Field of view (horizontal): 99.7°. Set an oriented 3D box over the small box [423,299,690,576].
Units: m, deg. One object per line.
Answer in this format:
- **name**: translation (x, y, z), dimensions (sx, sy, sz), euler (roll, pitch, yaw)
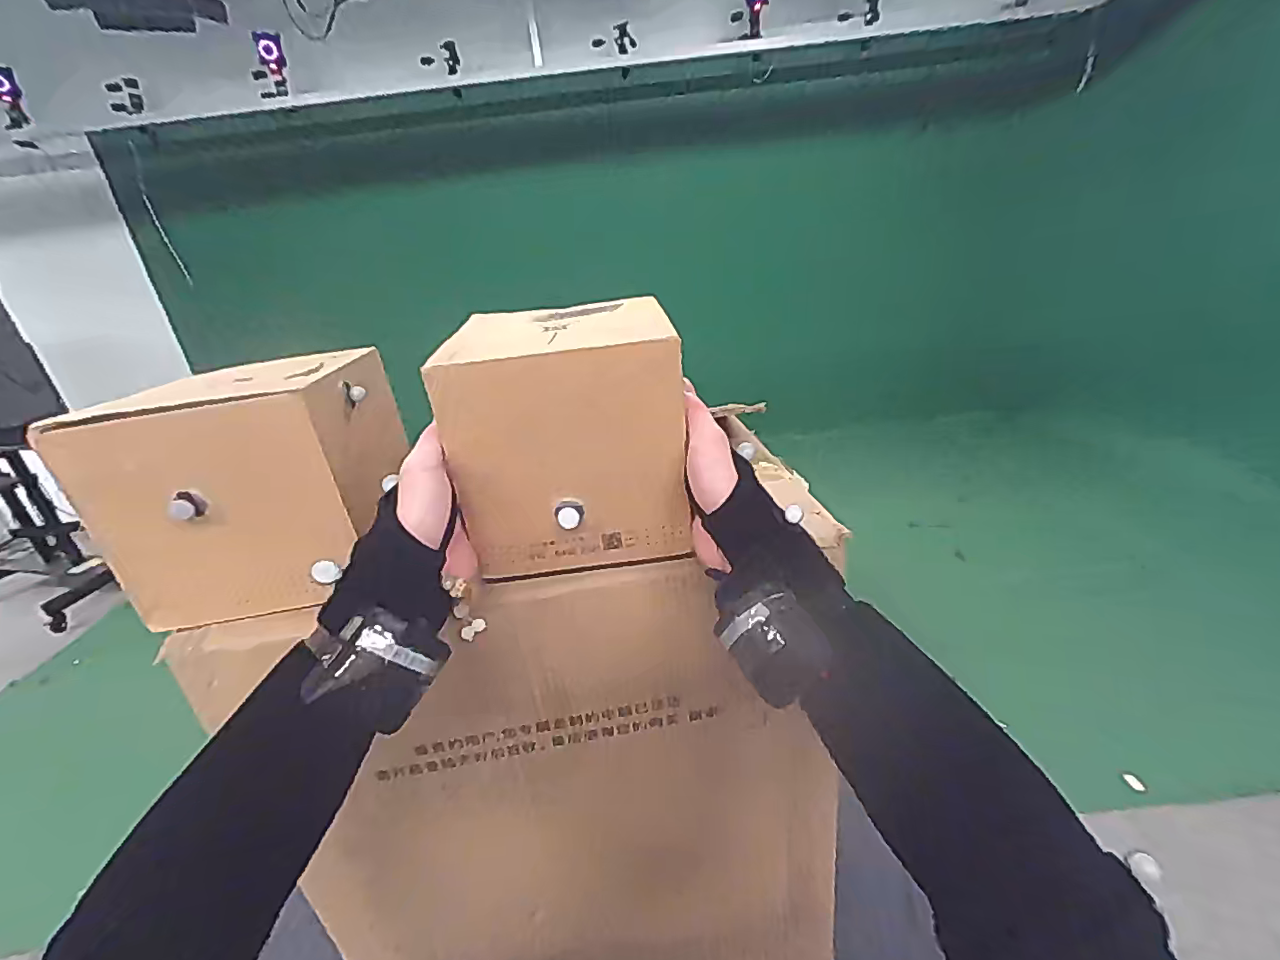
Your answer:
- **small box**: translation (-0.054, -0.044, 0.447), dimensions (0.168, 0.176, 0.179), euler (-7, 28, -1)
